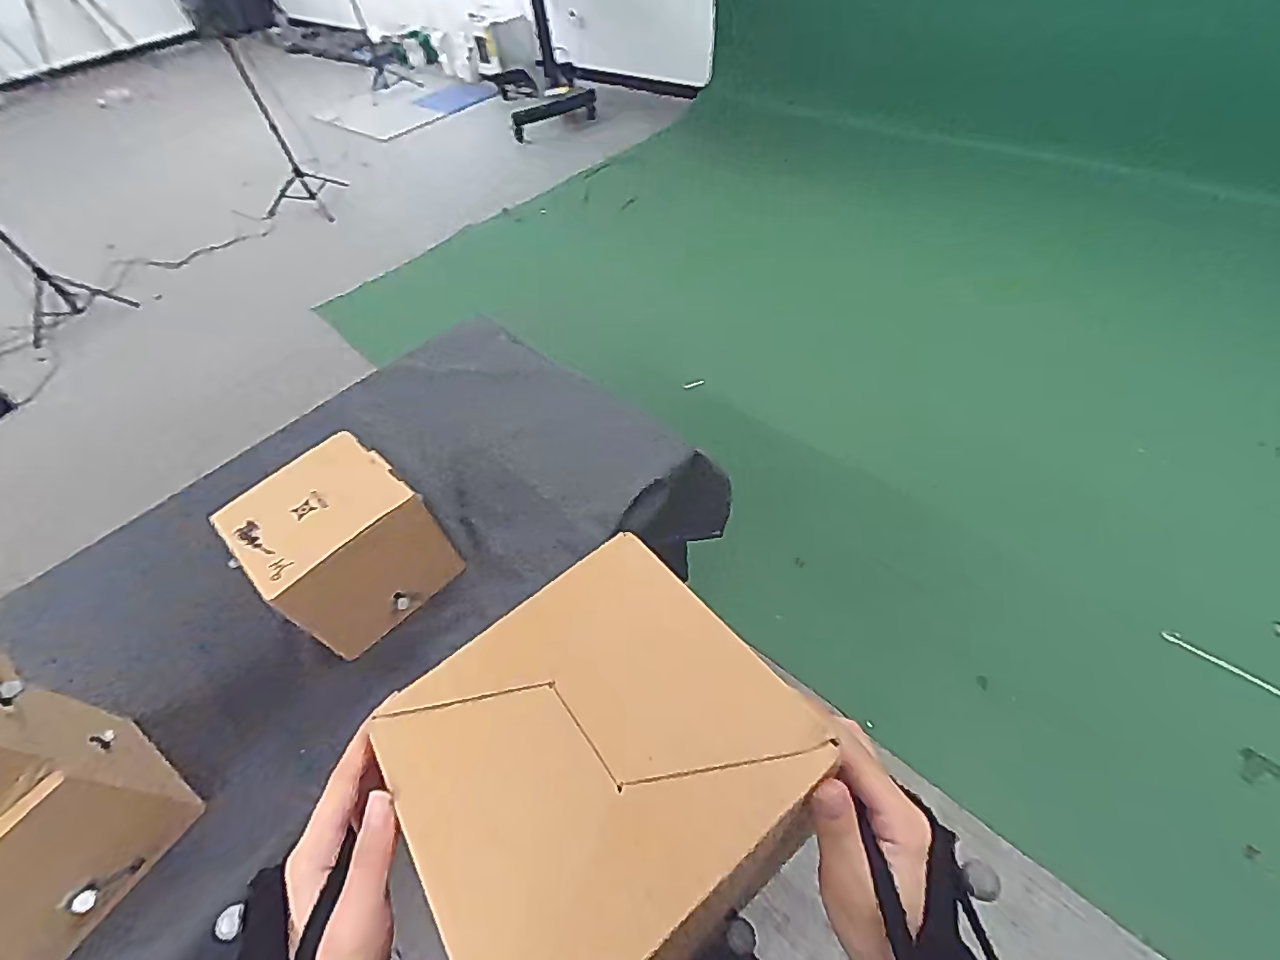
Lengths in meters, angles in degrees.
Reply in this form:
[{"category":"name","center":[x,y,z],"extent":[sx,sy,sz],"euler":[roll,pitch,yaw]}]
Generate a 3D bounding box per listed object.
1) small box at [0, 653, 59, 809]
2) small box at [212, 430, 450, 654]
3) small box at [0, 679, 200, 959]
[{"category":"small box","center":[-0.602,0.205,0.384],"extent":[0.168,0.176,0.179],"euler":[28,59,24]},{"category":"small box","center":[-0.360,0.077,0.668],"extent":[0.168,0.176,0.179],"euler":[34,62,28]},{"category":"small box","center":[-0.578,0.316,0.501],"extent":[0.179,0.176,0.168],"euler":[24,58,22]}]
